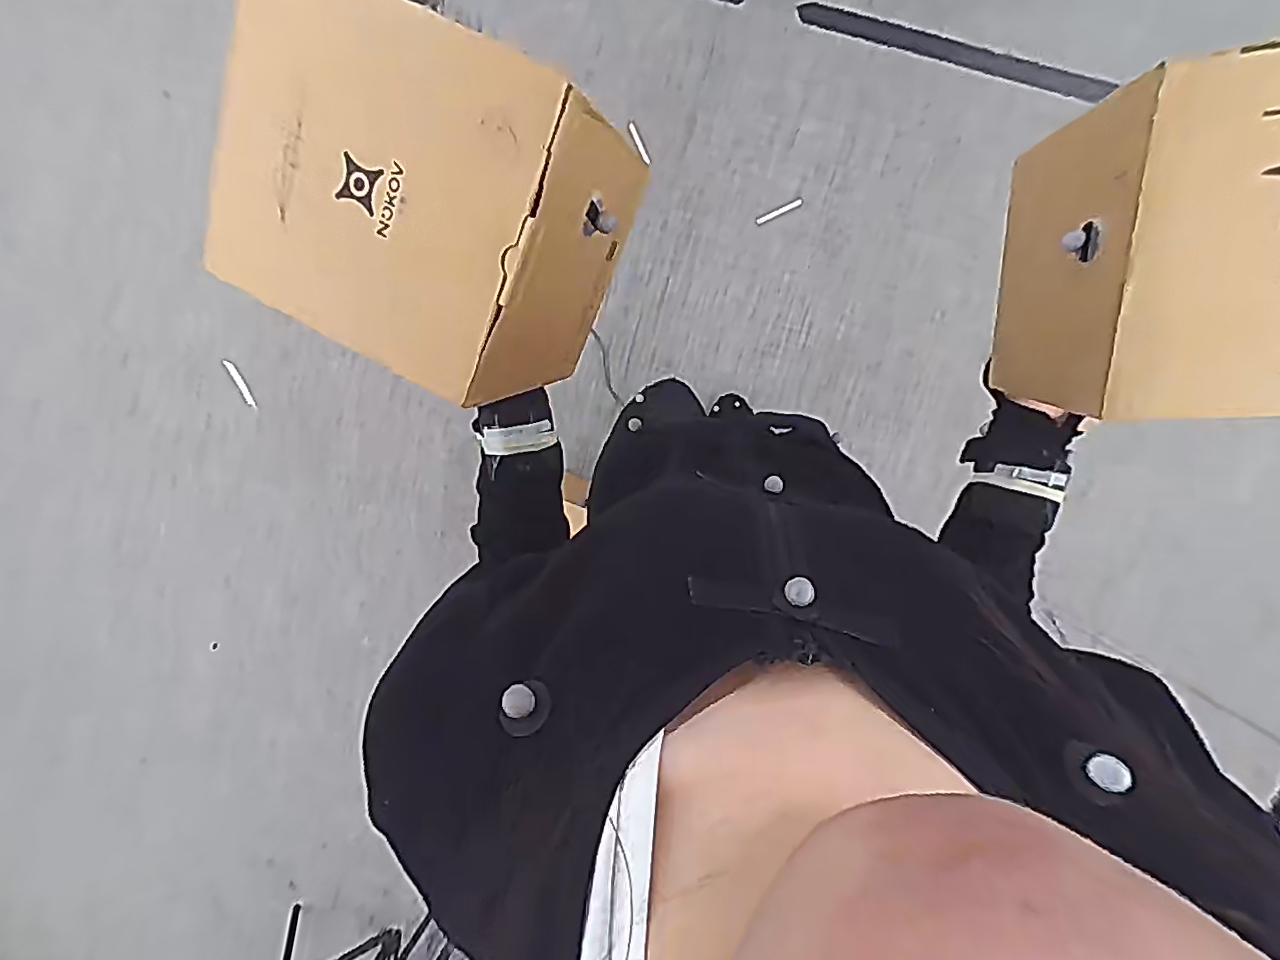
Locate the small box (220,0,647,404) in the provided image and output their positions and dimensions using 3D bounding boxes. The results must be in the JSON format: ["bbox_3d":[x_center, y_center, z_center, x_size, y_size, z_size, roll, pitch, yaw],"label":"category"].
[{"bbox_3d":[-0.114,-0.171,0.350,0.179,0.176,0.168,28,110,5],"label":"small box"}]

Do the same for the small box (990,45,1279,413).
[{"bbox_3d":[0.351,-0.142,0.343,0.168,0.176,0.179,0,107,13],"label":"small box"}]
